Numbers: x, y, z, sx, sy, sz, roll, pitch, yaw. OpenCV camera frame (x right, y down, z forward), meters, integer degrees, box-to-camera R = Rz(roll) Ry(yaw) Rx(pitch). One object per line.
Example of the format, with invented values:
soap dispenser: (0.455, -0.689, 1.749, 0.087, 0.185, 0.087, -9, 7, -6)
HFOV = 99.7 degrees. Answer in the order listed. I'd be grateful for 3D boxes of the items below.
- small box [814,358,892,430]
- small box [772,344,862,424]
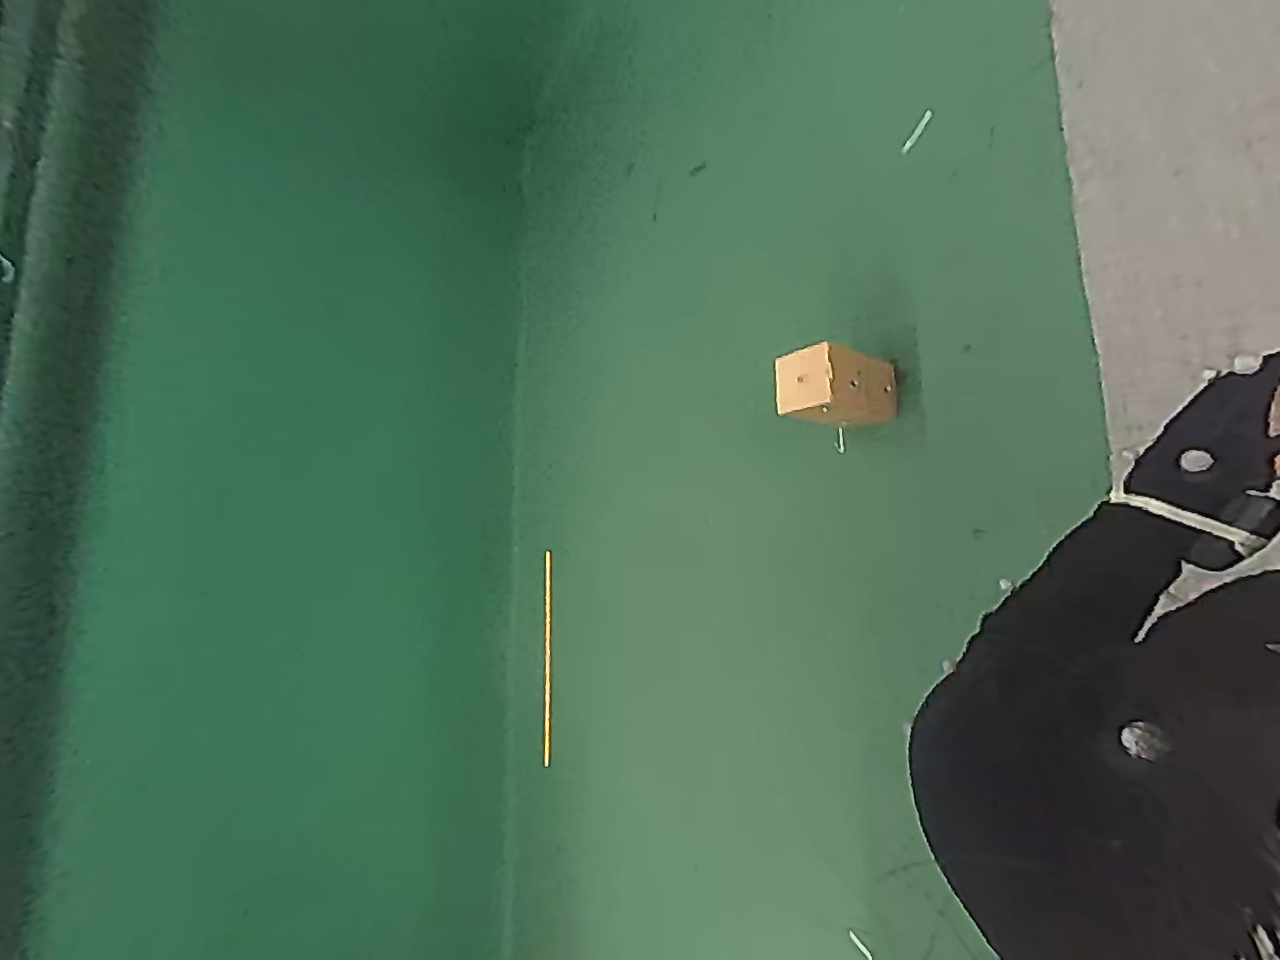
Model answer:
small box: (0.624, -0.248, 1.612, 0.179, 0.176, 0.168, -10, 79, 52)
small box: (0.494, -0.260, 1.516, 0.179, 0.176, 0.168, -12, 76, 52)
